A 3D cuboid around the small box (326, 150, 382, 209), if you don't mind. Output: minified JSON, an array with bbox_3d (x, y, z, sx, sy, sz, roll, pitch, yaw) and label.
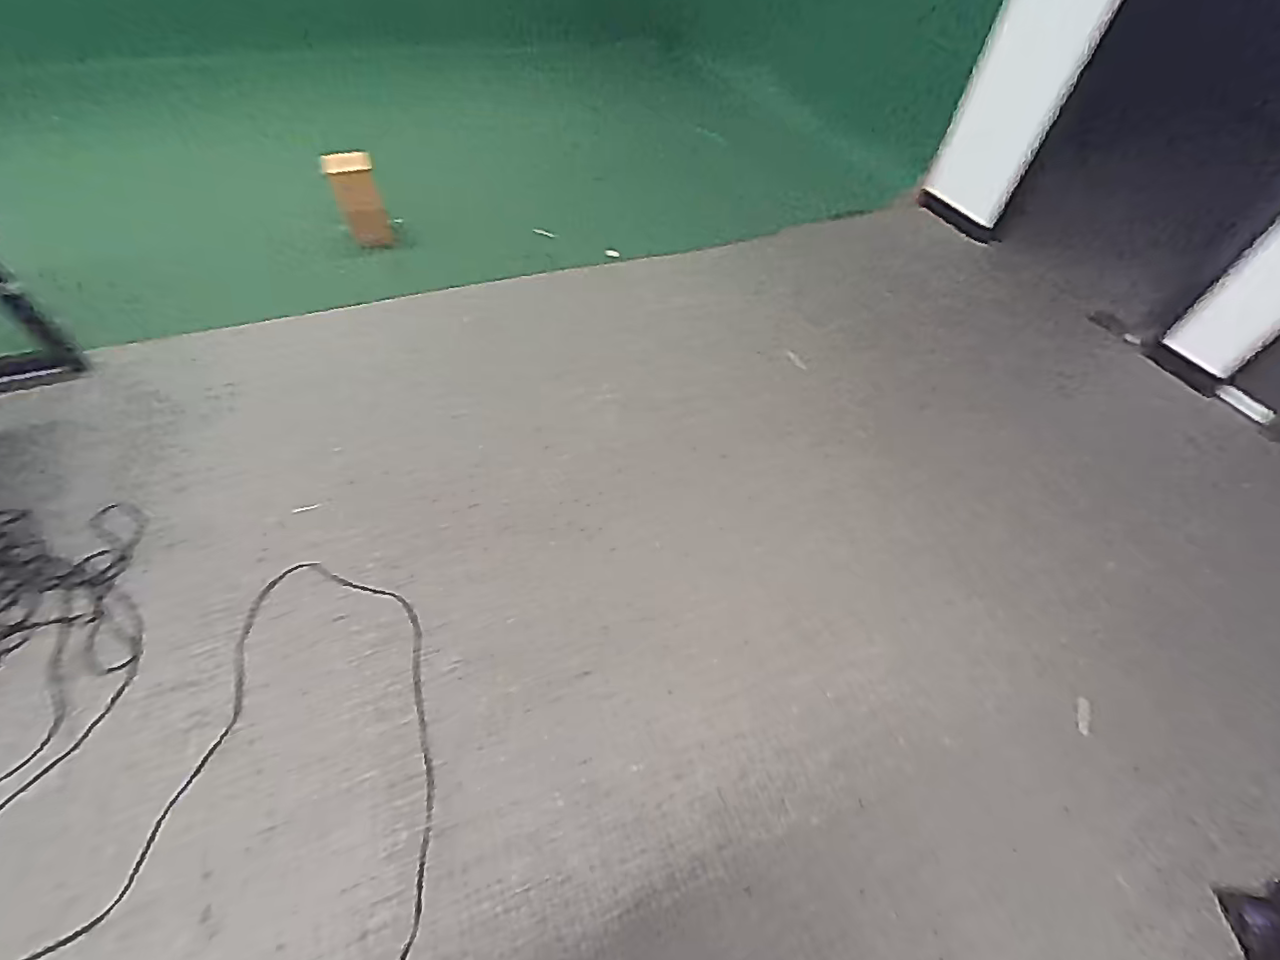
[{"bbox_3d":[-1.231,-1.290,2.332,0.168,0.176,0.179,-18,55,-16],"label":"small box"}]

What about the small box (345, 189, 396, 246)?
[{"bbox_3d":[-1.232,-1.196,2.465,0.168,0.176,0.179,-17,56,-15],"label":"small box"}]
